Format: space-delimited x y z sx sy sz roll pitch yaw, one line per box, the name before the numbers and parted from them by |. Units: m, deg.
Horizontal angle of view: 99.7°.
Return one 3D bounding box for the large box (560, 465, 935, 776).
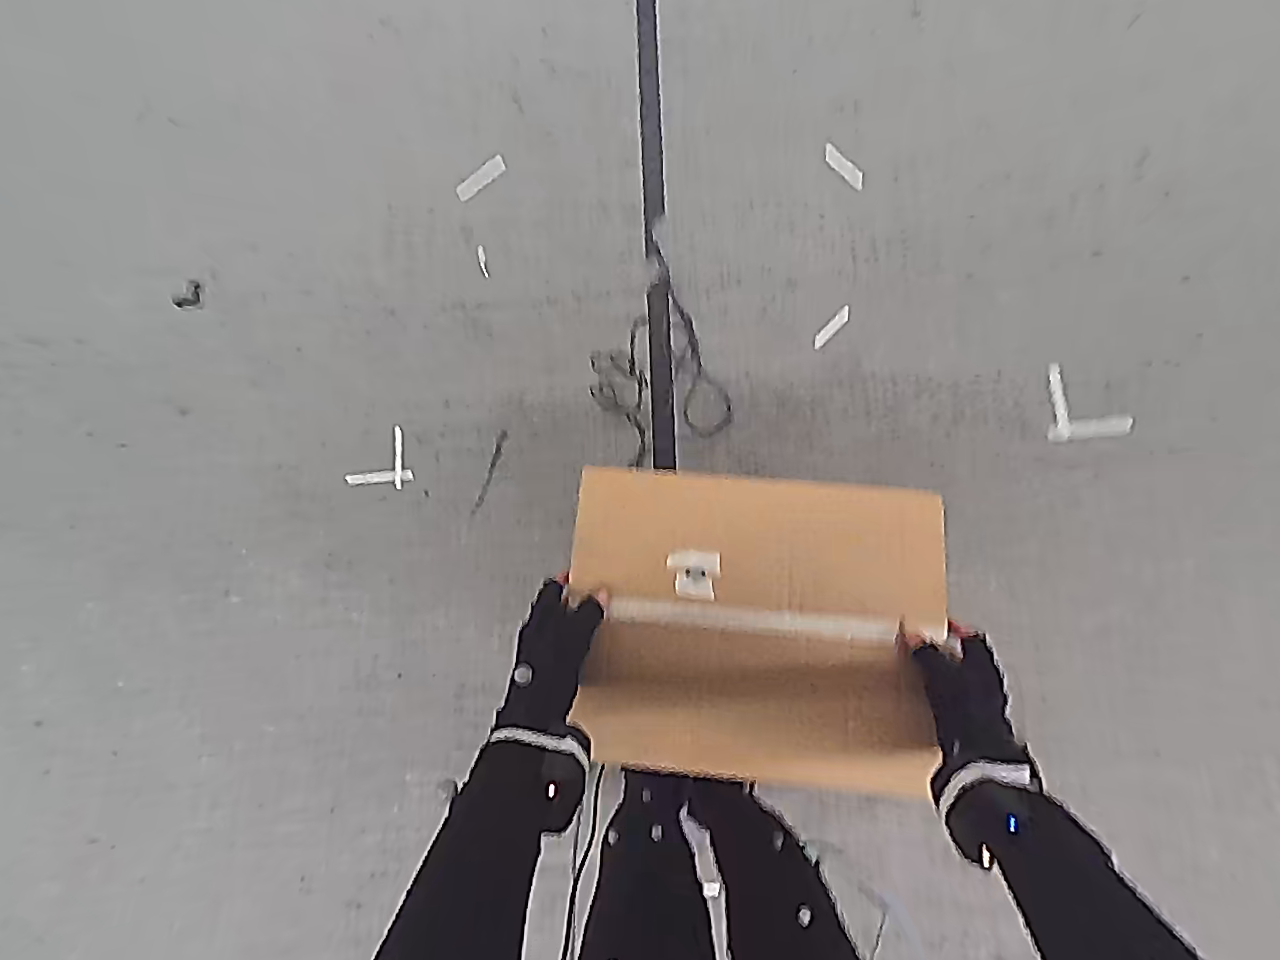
large box | 0.135 0.172 0.748 0.408 0.320 0.320 5 78 6
